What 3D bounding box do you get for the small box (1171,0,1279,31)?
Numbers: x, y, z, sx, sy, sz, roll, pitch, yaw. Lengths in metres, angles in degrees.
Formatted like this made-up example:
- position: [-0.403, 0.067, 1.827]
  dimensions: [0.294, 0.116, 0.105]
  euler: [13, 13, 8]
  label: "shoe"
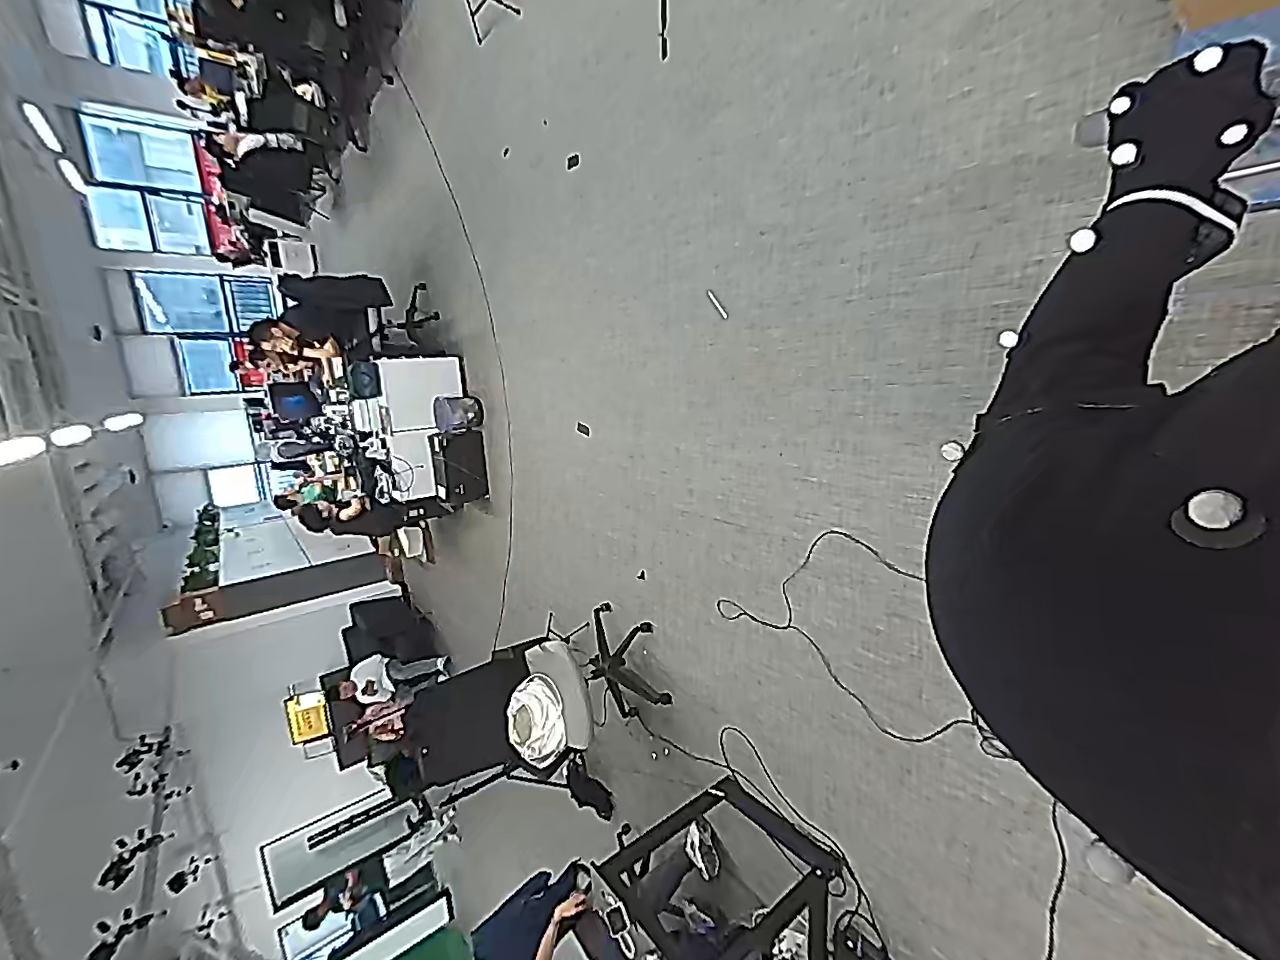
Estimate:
- position: [0.889, -0.784, 0.765]
  dimensions: [0.179, 0.176, 0.168]
  euler: [19, 114, 47]
  label: "small box"
